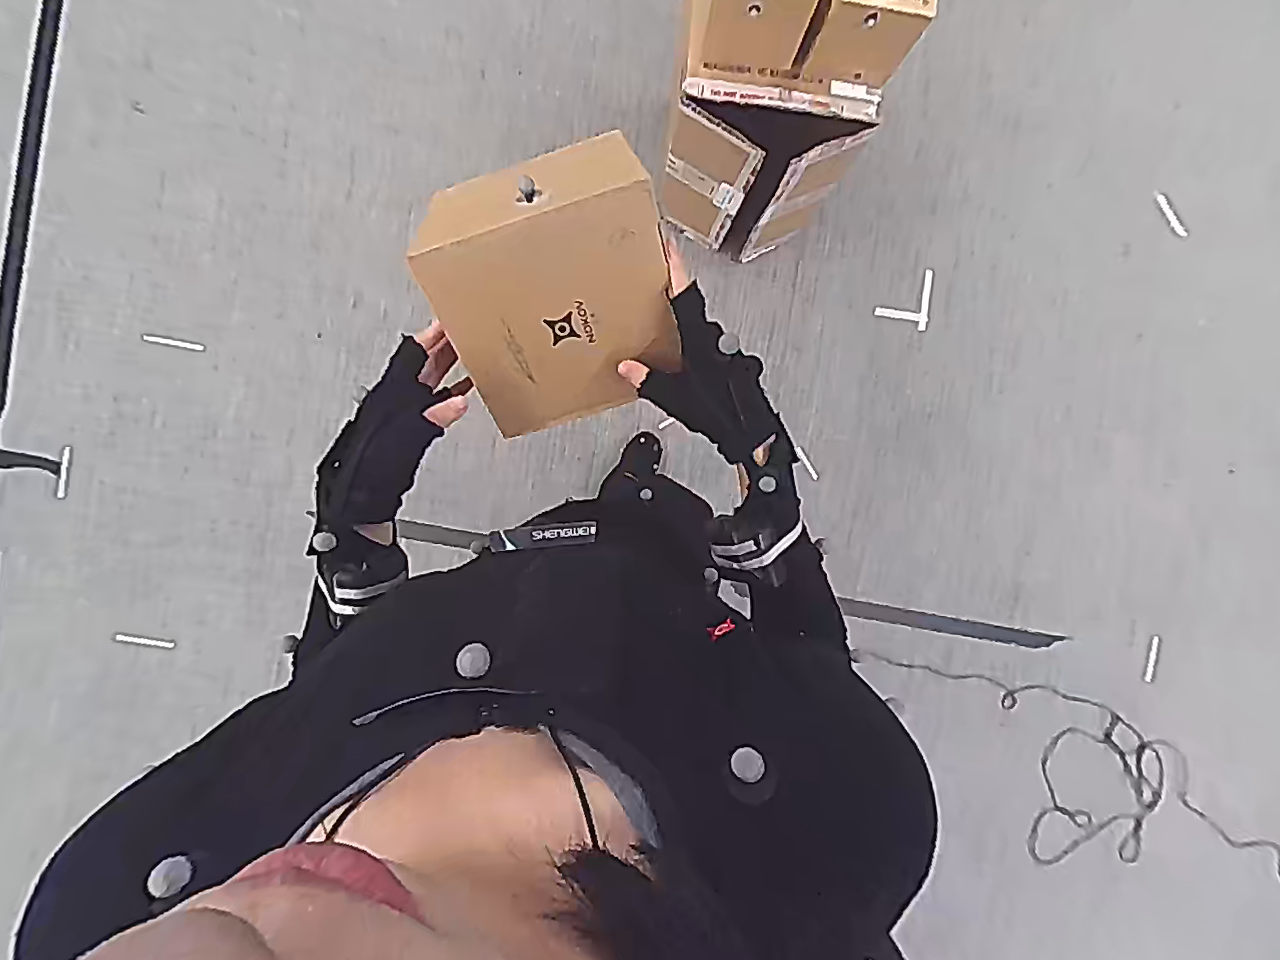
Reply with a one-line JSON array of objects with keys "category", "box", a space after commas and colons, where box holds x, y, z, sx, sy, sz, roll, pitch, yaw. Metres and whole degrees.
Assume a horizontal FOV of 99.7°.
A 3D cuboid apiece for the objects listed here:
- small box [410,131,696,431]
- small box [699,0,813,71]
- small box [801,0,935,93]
[{"category": "small box", "box": [-0.066, -0.175, 0.468, 0.179, 0.176, 0.168, -17, 132, 4]}, {"category": "small box", "box": [0.202, -0.860, 0.944, 0.179, 0.176, 0.168, 3, 90, -3]}, {"category": "small box", "box": [0.399, -0.843, 0.958, 0.168, 0.176, 0.179, 6, 89, -6]}]
